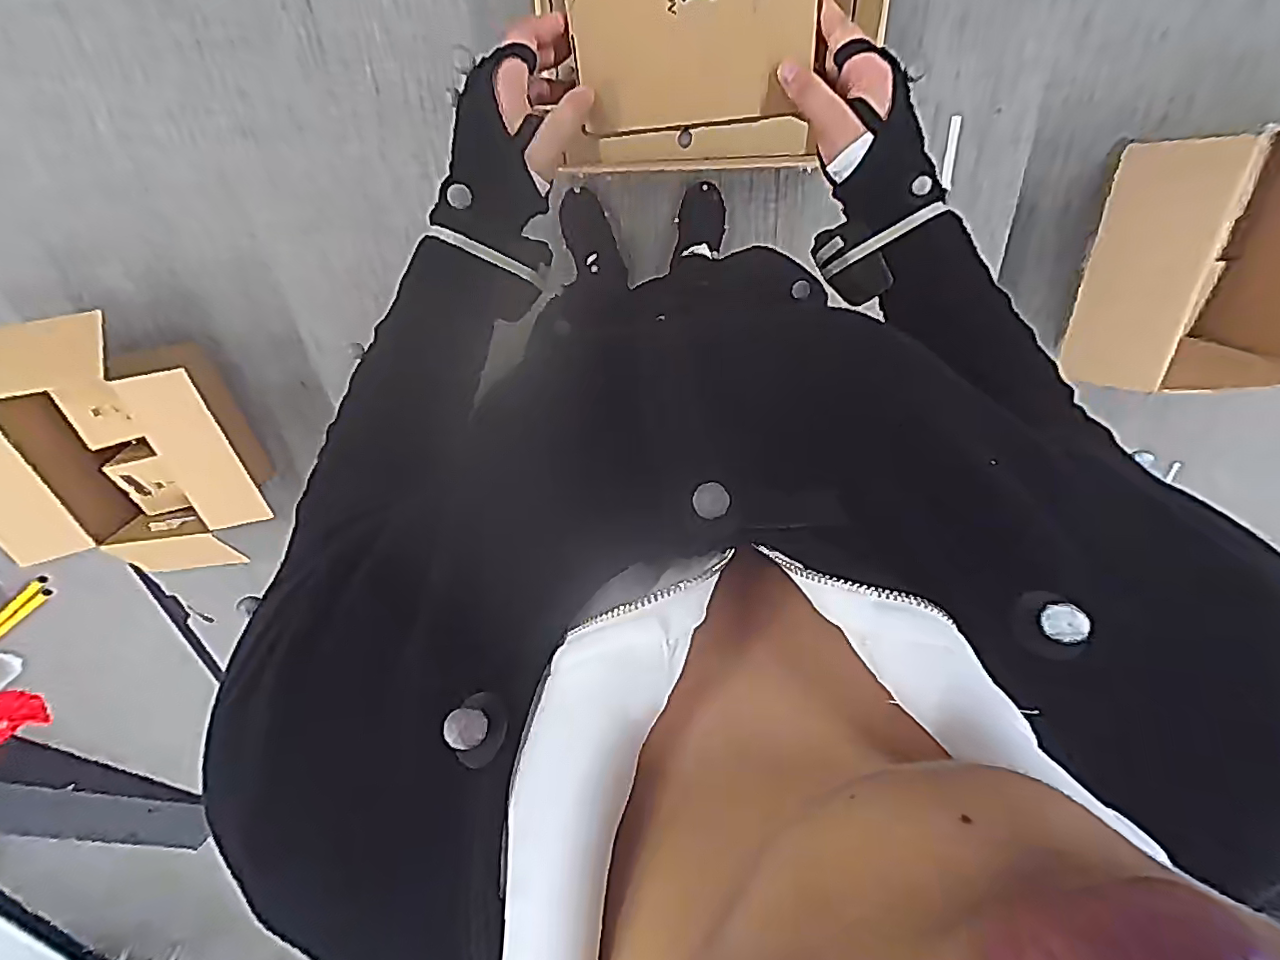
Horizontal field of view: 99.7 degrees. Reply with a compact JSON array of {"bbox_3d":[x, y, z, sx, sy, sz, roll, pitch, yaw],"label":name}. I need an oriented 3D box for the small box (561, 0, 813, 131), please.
[{"bbox_3d":[0.027,-0.386,0.430,0.179,0.176,0.168,-8,122,0],"label":"small box"}]
